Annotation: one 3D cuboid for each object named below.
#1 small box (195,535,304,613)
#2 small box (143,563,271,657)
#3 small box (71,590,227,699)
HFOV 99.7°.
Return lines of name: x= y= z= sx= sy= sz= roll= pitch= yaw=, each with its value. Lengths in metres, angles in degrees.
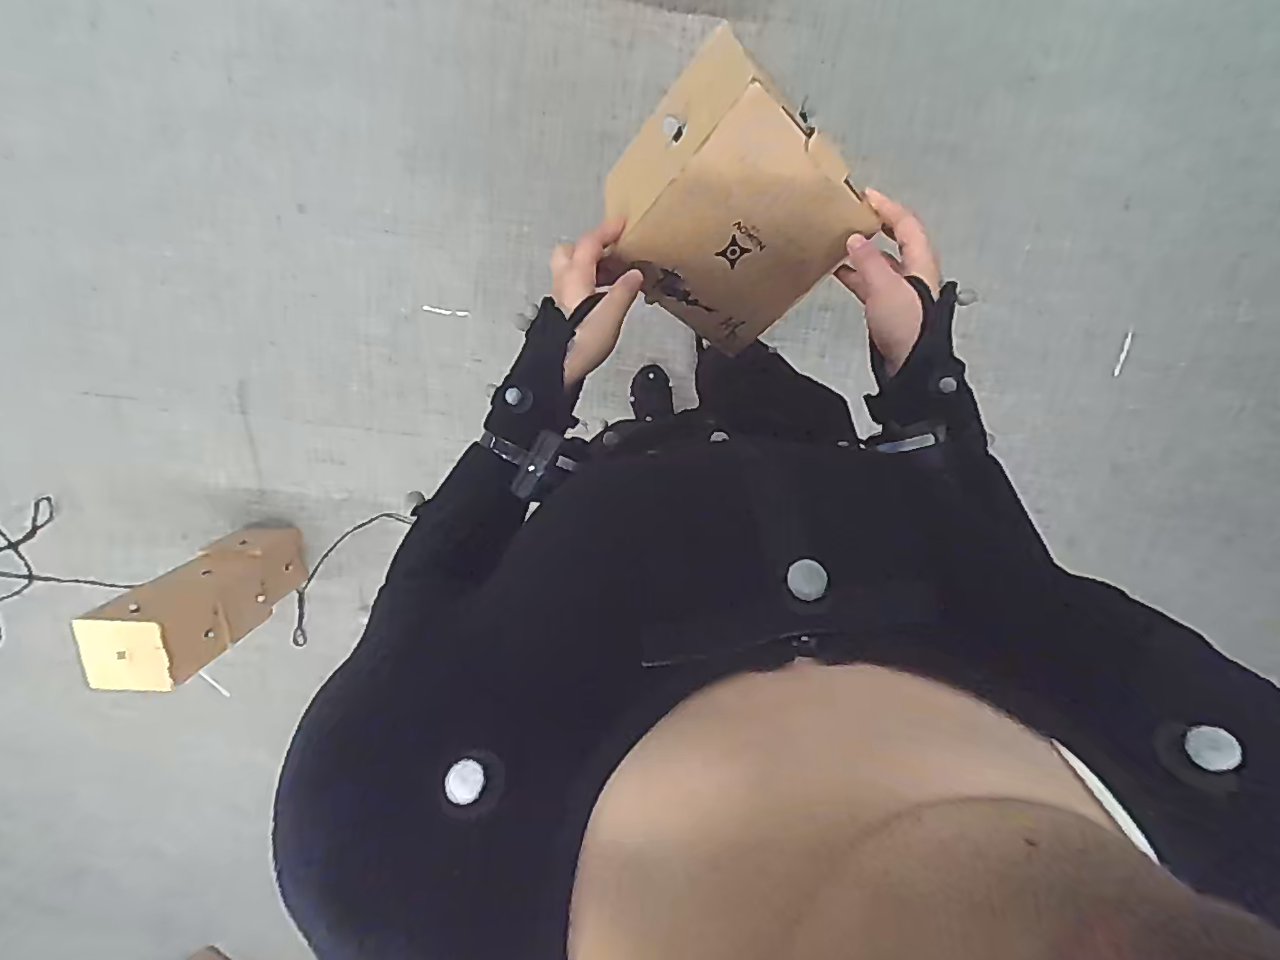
small box: x=-1.061 y=0.255 z=1.491 sx=0.179 sy=0.176 sz=0.168 roll=0 pitch=104 yaw=1
small box: x=-1.060 y=0.315 z=1.338 sx=0.179 sy=0.176 sz=0.168 roll=3 pitch=106 yaw=-1
small box: x=-1.057 y=0.351 z=1.179 sx=0.179 sy=0.176 sz=0.168 roll=2 pitch=105 yaw=-1
